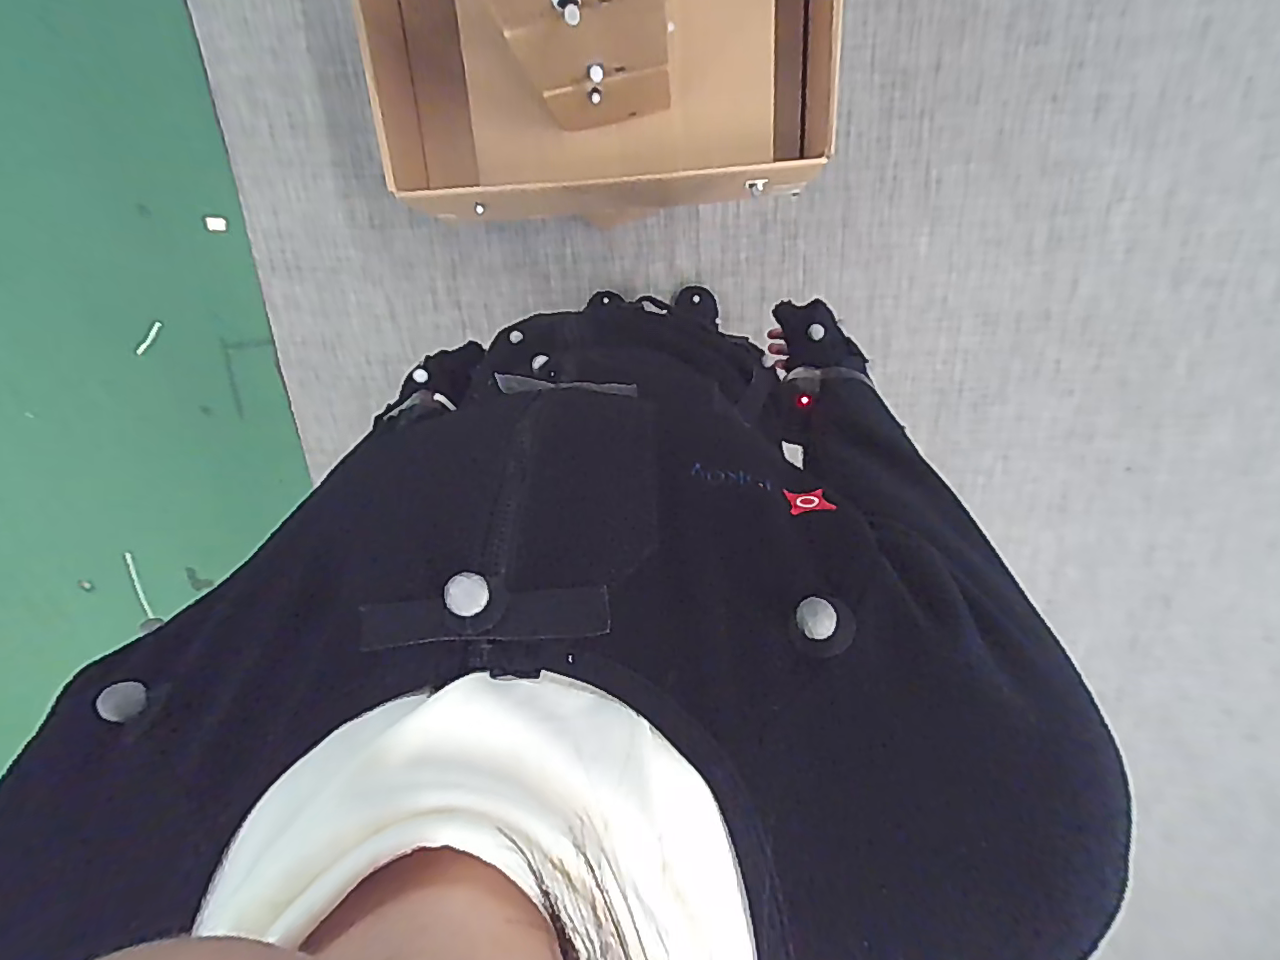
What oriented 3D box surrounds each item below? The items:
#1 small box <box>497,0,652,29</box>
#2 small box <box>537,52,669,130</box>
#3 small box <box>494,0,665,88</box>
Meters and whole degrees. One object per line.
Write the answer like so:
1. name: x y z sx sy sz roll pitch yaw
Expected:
1. small box: -0.071 -0.506 0.422 0.168 0.176 0.179 -6 110 8
2. small box: -0.054 -0.610 0.730 0.168 0.176 0.179 -8 108 8
3. small box: -0.066 -0.560 0.574 0.168 0.176 0.179 -7 109 7
